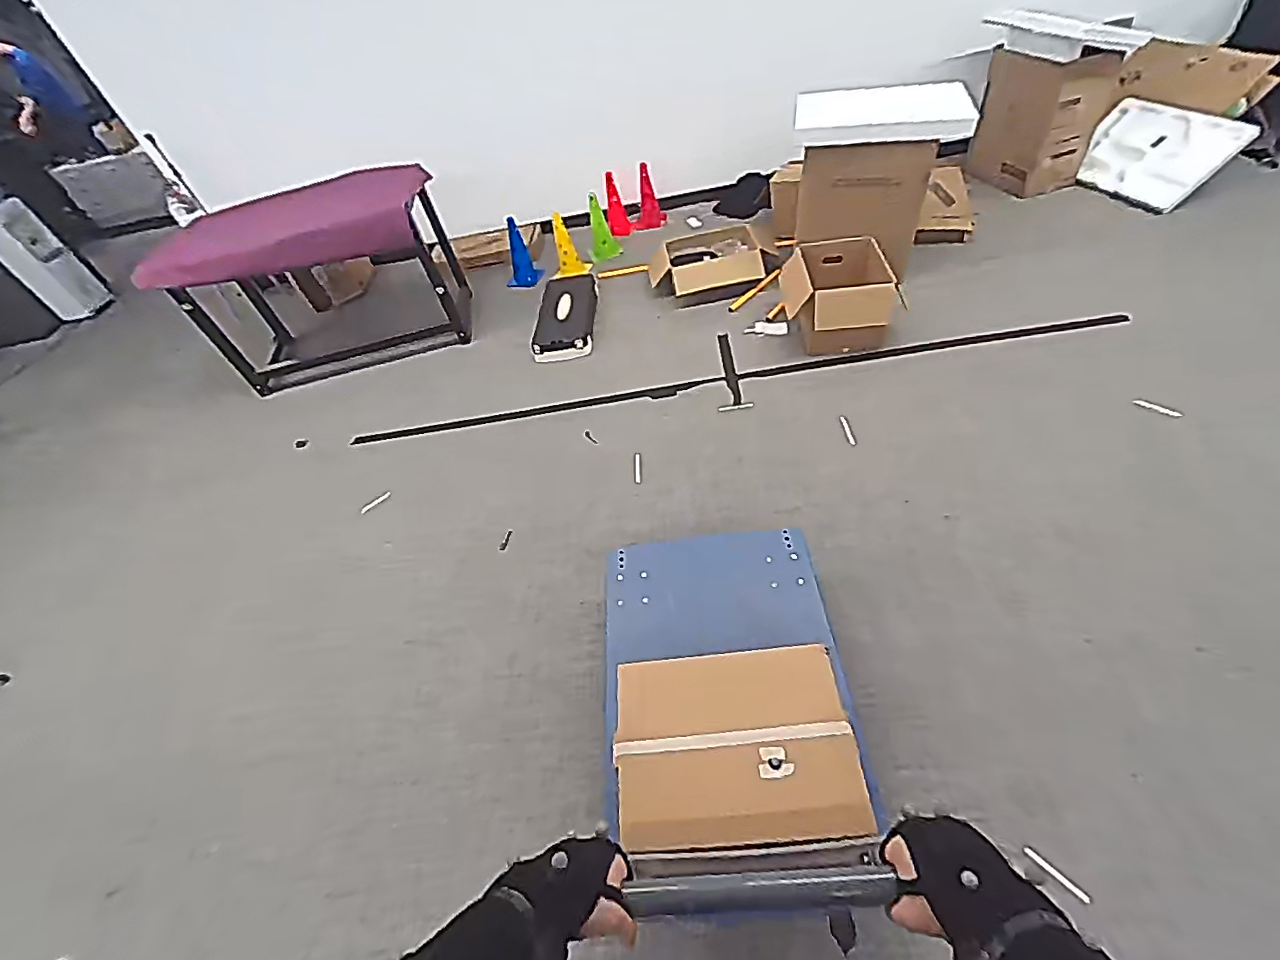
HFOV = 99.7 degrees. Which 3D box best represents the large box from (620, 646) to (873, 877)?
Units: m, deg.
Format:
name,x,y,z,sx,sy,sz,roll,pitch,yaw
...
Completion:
name,x,y,z,sx,sy,sz,roll,pitch,yaw
large box,0.184,0.561,1.068,0.408,0.320,0.320,-8,48,4
